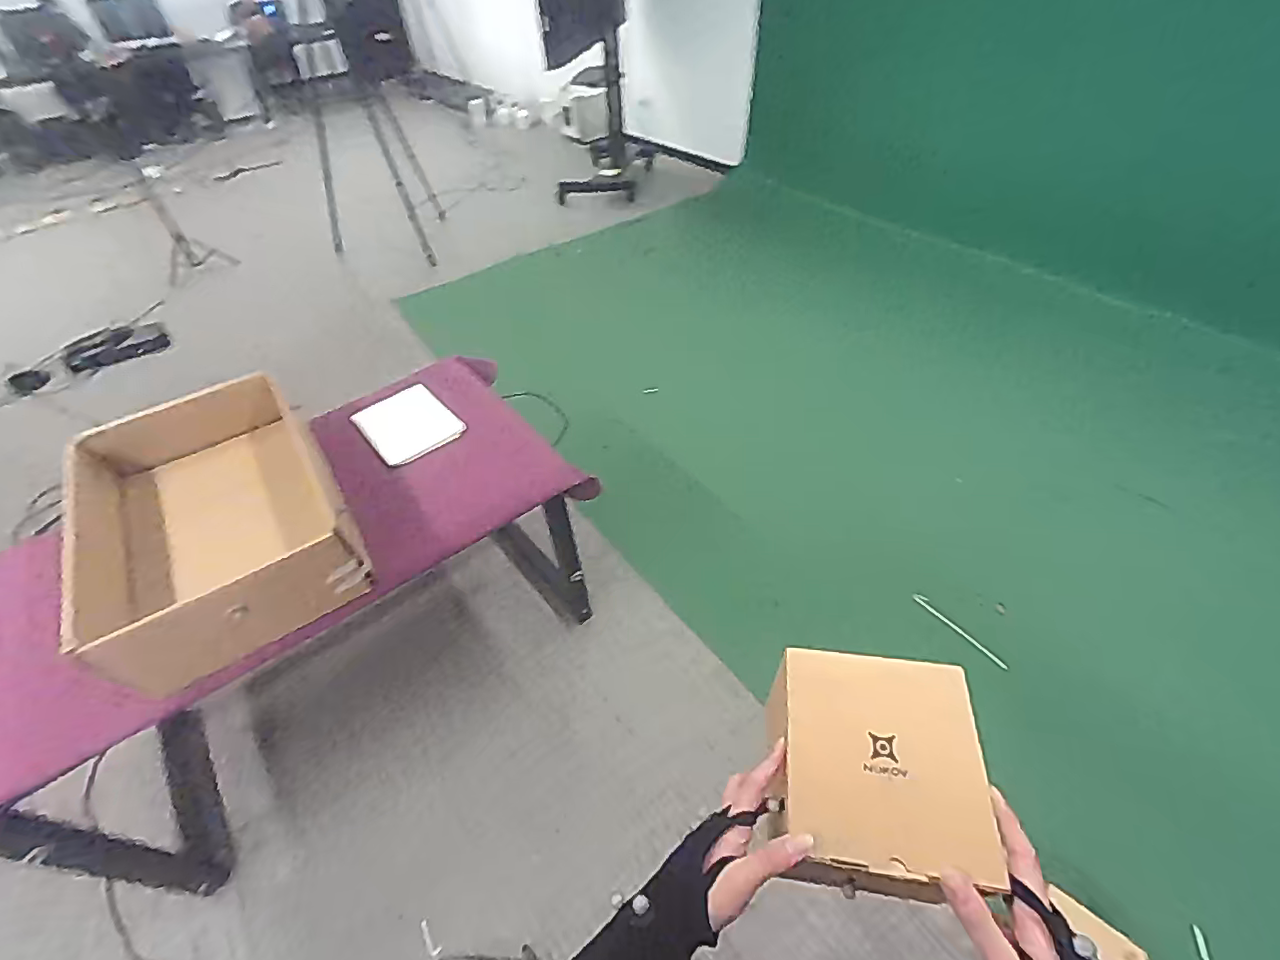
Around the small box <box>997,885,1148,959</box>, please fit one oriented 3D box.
[{"bbox_3d":[0.886,0.997,1.122,0.179,0.176,0.168,31,56,29],"label":"small box"}]
